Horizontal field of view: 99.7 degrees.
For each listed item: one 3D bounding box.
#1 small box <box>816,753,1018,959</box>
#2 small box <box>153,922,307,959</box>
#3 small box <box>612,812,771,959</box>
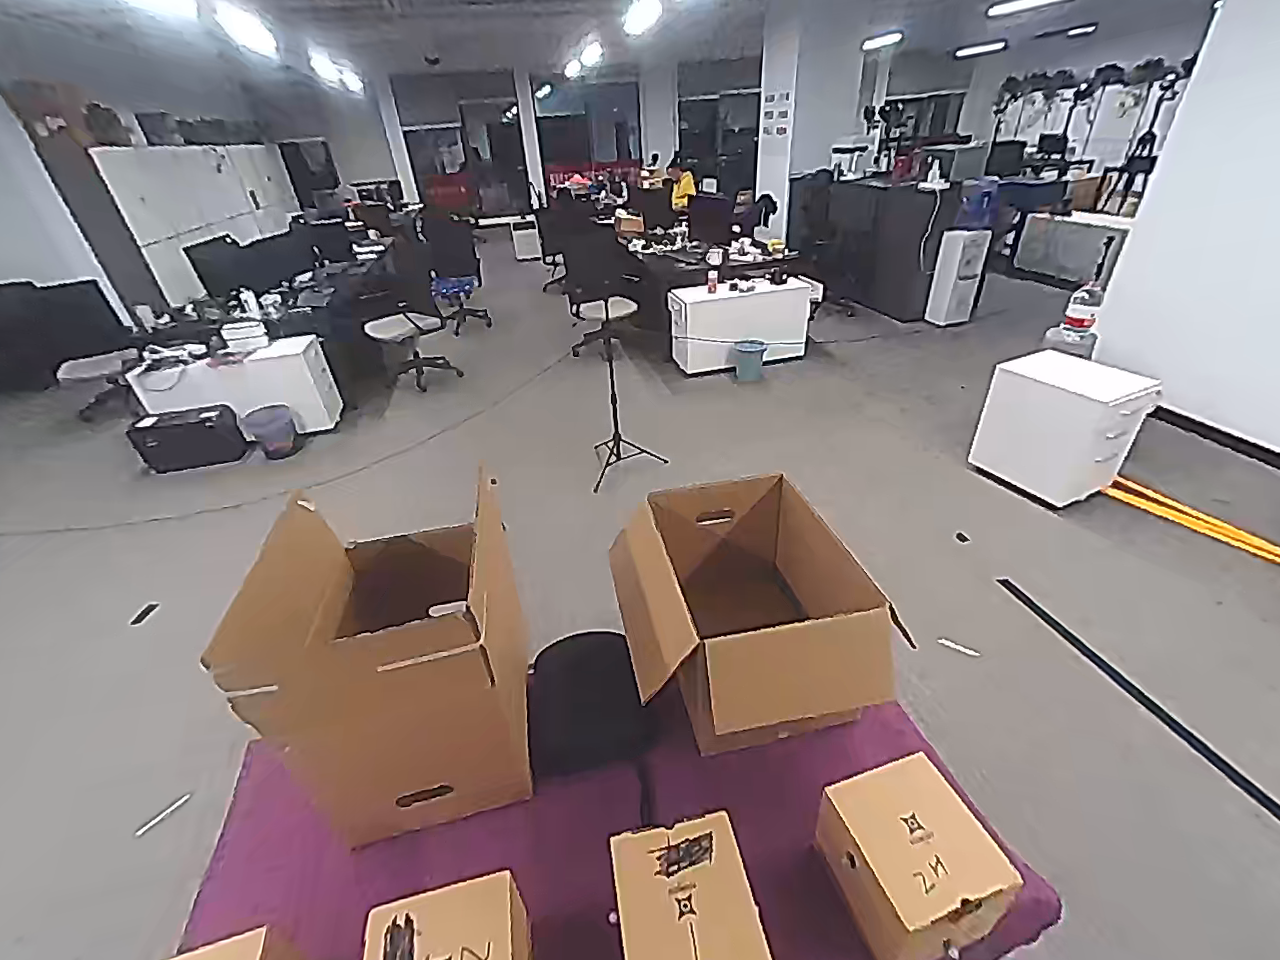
[{"bbox_3d":[0.364,0.526,0.751,0.168,0.176,0.179,-13,34,-11],"label":"small box"},{"bbox_3d":[-0.509,0.670,0.626,0.179,0.176,0.168,-11,33,-13],"label":"small box"},{"bbox_3d":[0.059,0.578,0.706,0.168,0.176,0.179,-9,34,-7],"label":"small box"}]
